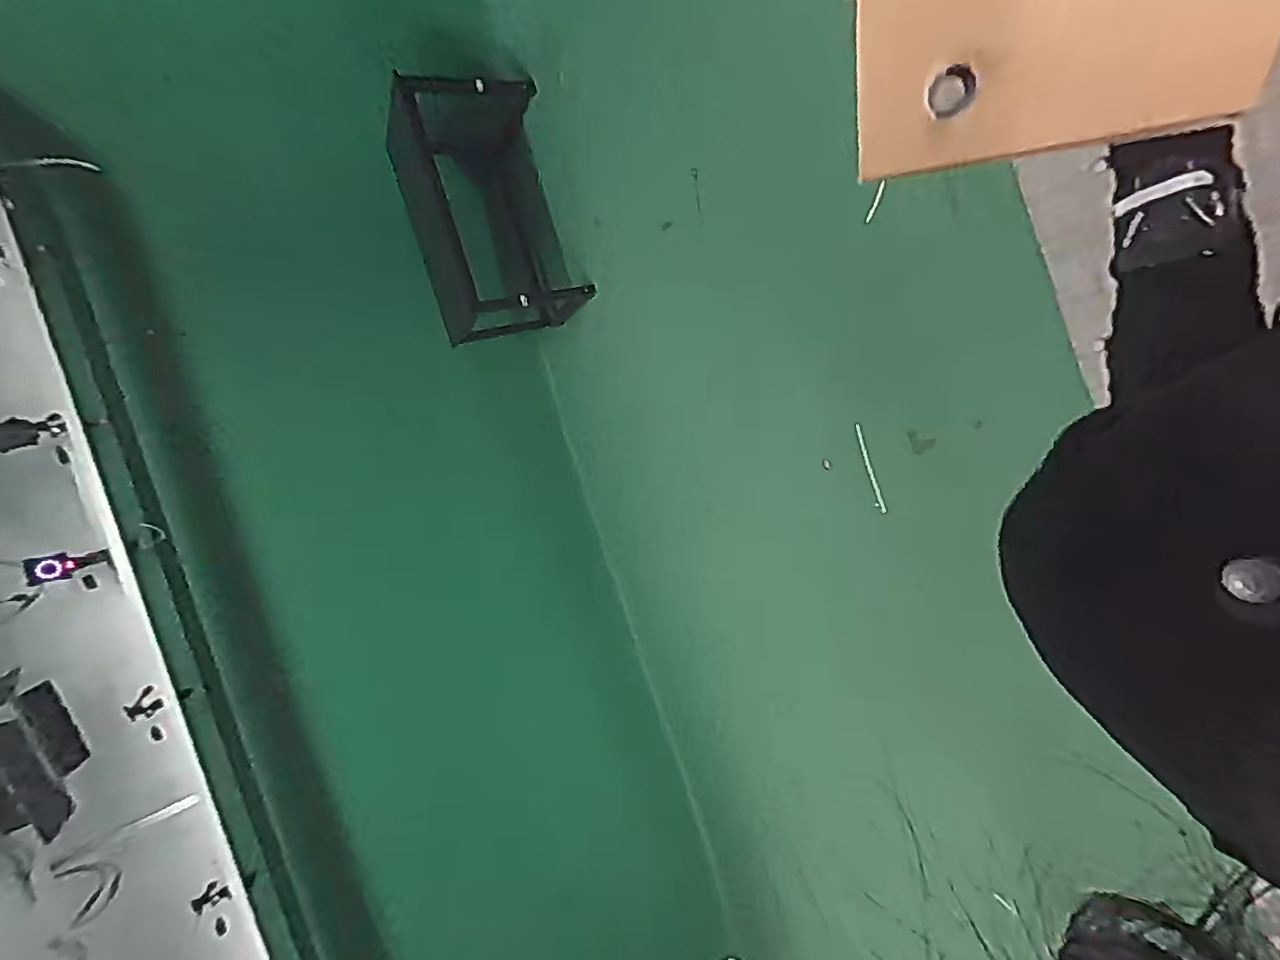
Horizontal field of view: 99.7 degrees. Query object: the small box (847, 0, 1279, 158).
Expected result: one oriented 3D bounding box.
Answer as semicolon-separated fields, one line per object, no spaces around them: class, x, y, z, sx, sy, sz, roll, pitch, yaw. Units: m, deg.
small box;0.207;-0.301;0.281;0.179;0.168;0.176;3;138;26
